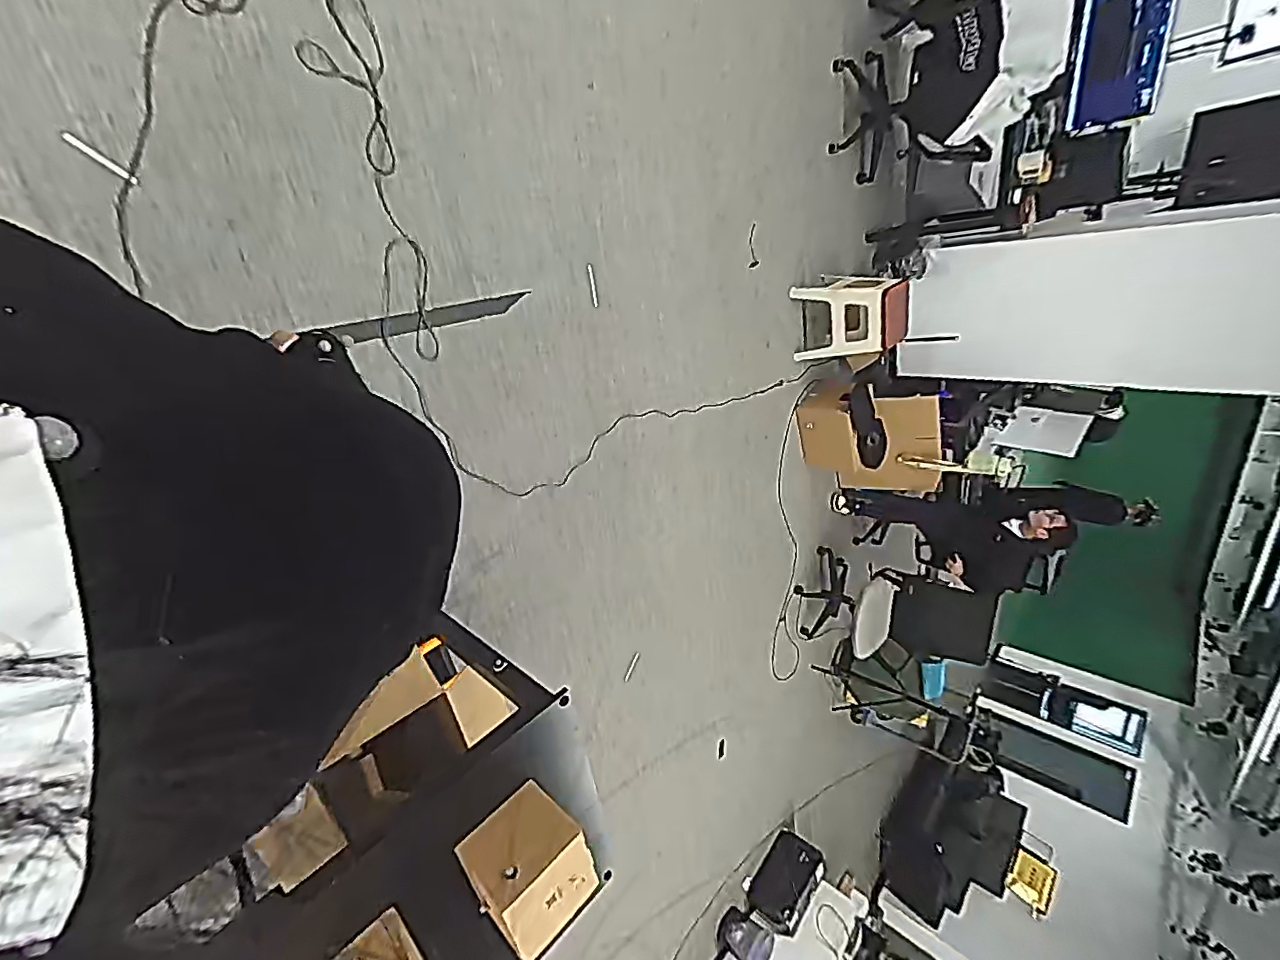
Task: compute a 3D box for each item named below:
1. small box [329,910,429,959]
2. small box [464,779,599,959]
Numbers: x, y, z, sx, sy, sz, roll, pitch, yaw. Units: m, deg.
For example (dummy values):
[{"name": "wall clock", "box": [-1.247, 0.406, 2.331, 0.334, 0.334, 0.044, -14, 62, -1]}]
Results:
[{"name": "small box", "box": [-0.403, 0.839, 0.847, 0.168, 0.176, 0.179, -29, 120, -39]}, {"name": "small box", "box": [-0.208, 0.718, 1.018, 0.179, 0.176, 0.168, -31, 122, -37]}]
